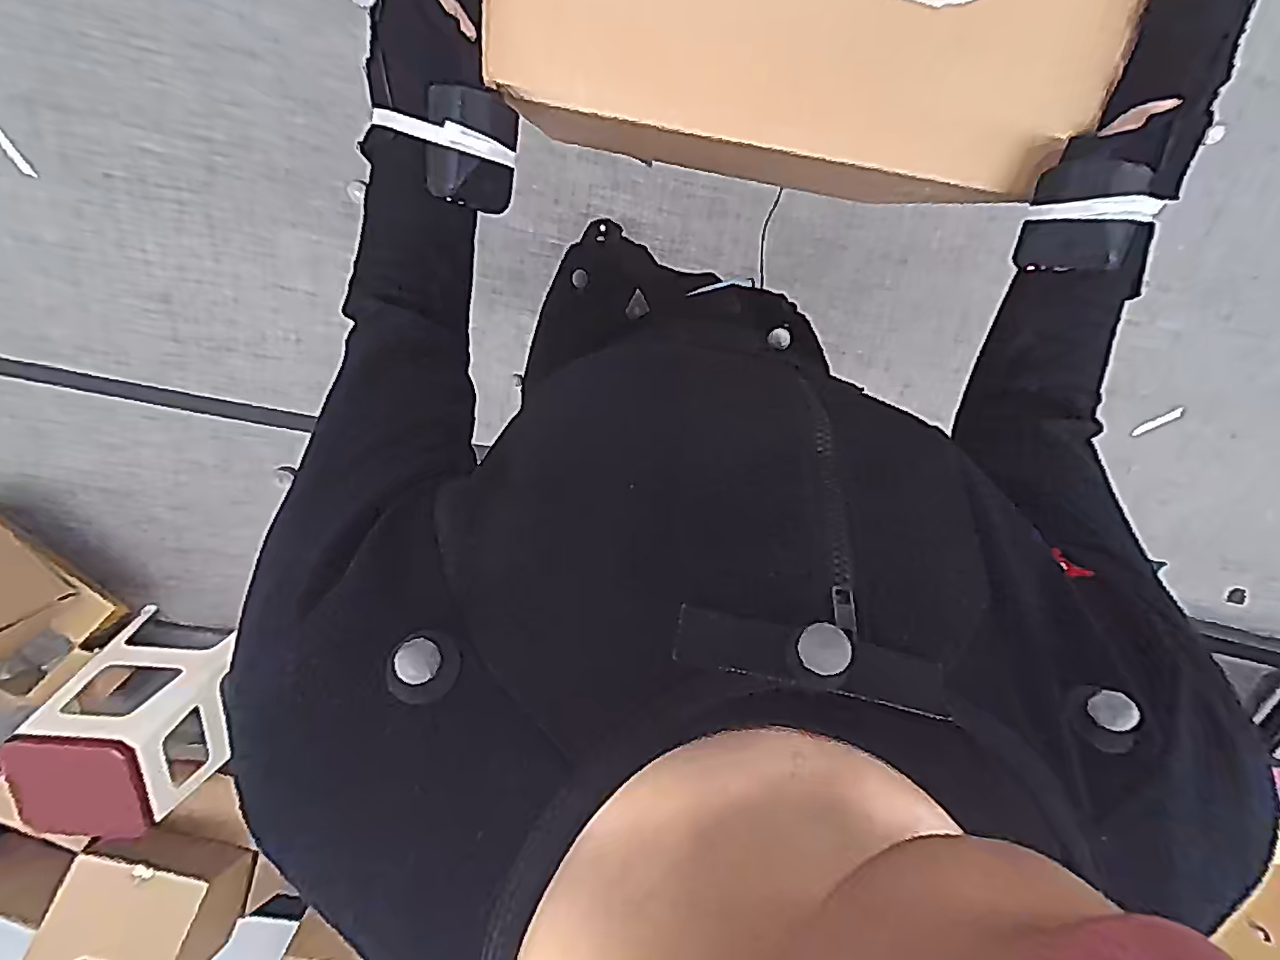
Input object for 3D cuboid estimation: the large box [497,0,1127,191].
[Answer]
[{"bbox_3d":[0.116,-0.439,0.438,0.408,0.320,0.320,7,118,-6],"label":"large box"}]
